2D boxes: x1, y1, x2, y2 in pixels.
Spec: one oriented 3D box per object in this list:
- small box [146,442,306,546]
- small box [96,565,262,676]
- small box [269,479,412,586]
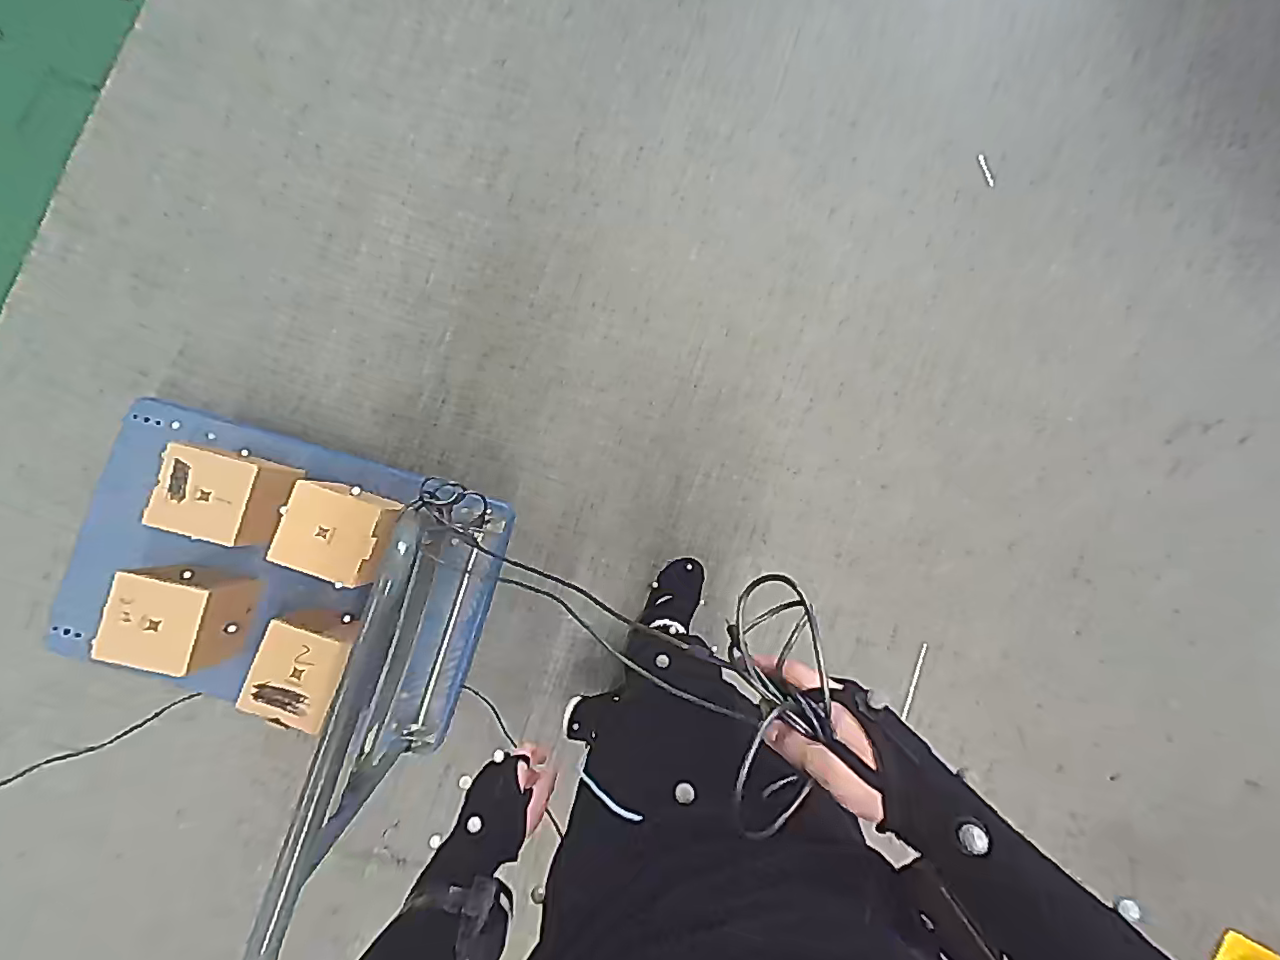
[{"bbox_3d":[-0.839,0.031,1.113,0.179,0.176,0.168,16,87,-3],"label":"small box"},{"bbox_3d":[-0.916,0.274,1.095,0.179,0.176,0.168,14,85,-2],"label":"small box"},{"bbox_3d":[-0.609,0.108,1.123,0.179,0.176,0.168,19,86,-2],"label":"small box"}]
